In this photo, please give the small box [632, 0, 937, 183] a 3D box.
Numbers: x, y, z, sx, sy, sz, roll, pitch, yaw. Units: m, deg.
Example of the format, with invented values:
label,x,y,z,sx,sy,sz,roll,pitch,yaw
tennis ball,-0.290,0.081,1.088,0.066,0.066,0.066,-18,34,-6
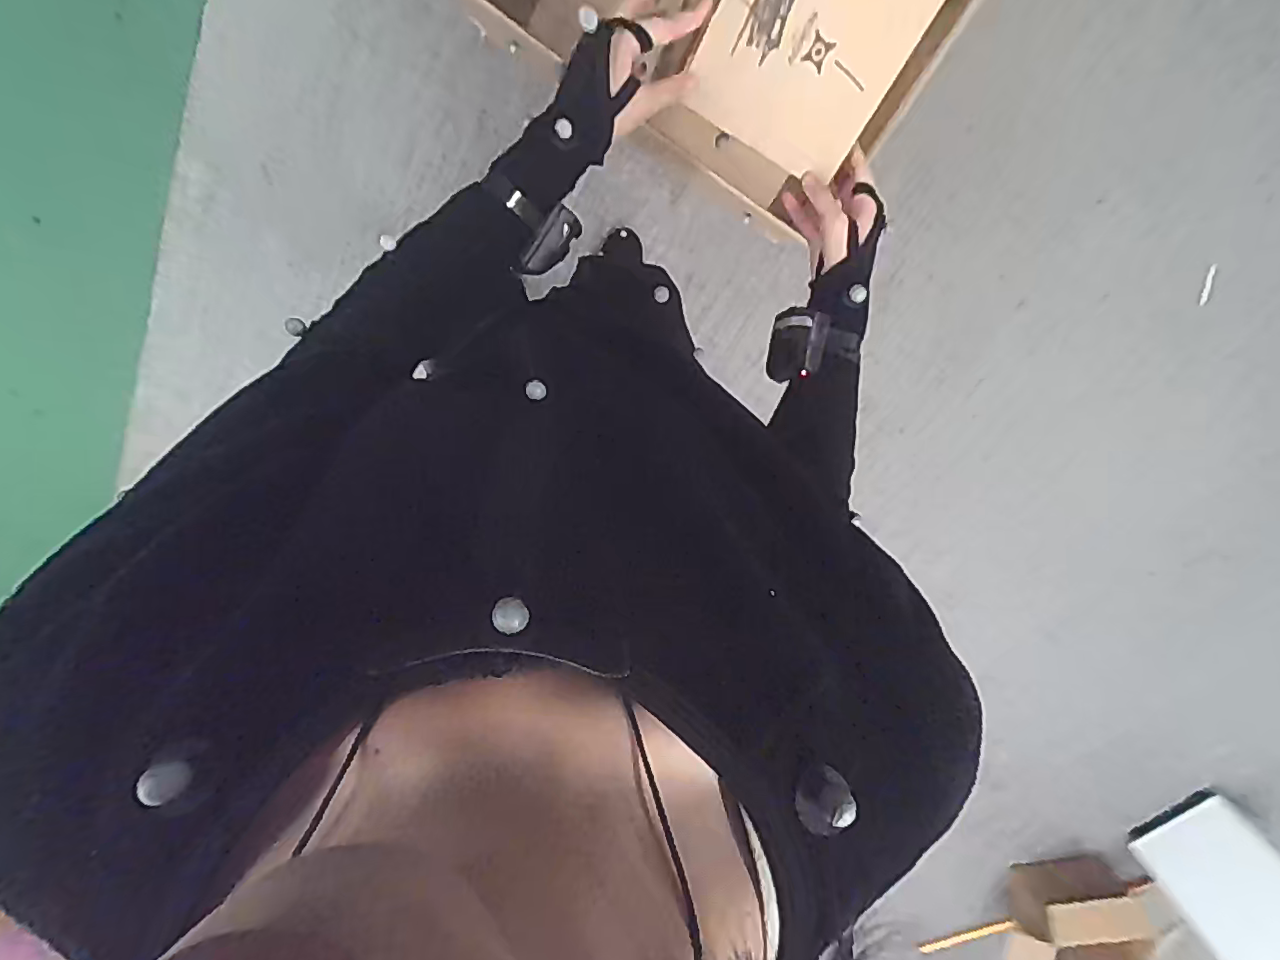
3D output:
label,x,y,z,sx,sy,sz,roll,pitch,yaw
small box,0.112,-0.403,0.479,0.179,0.176,0.168,12,127,-28
